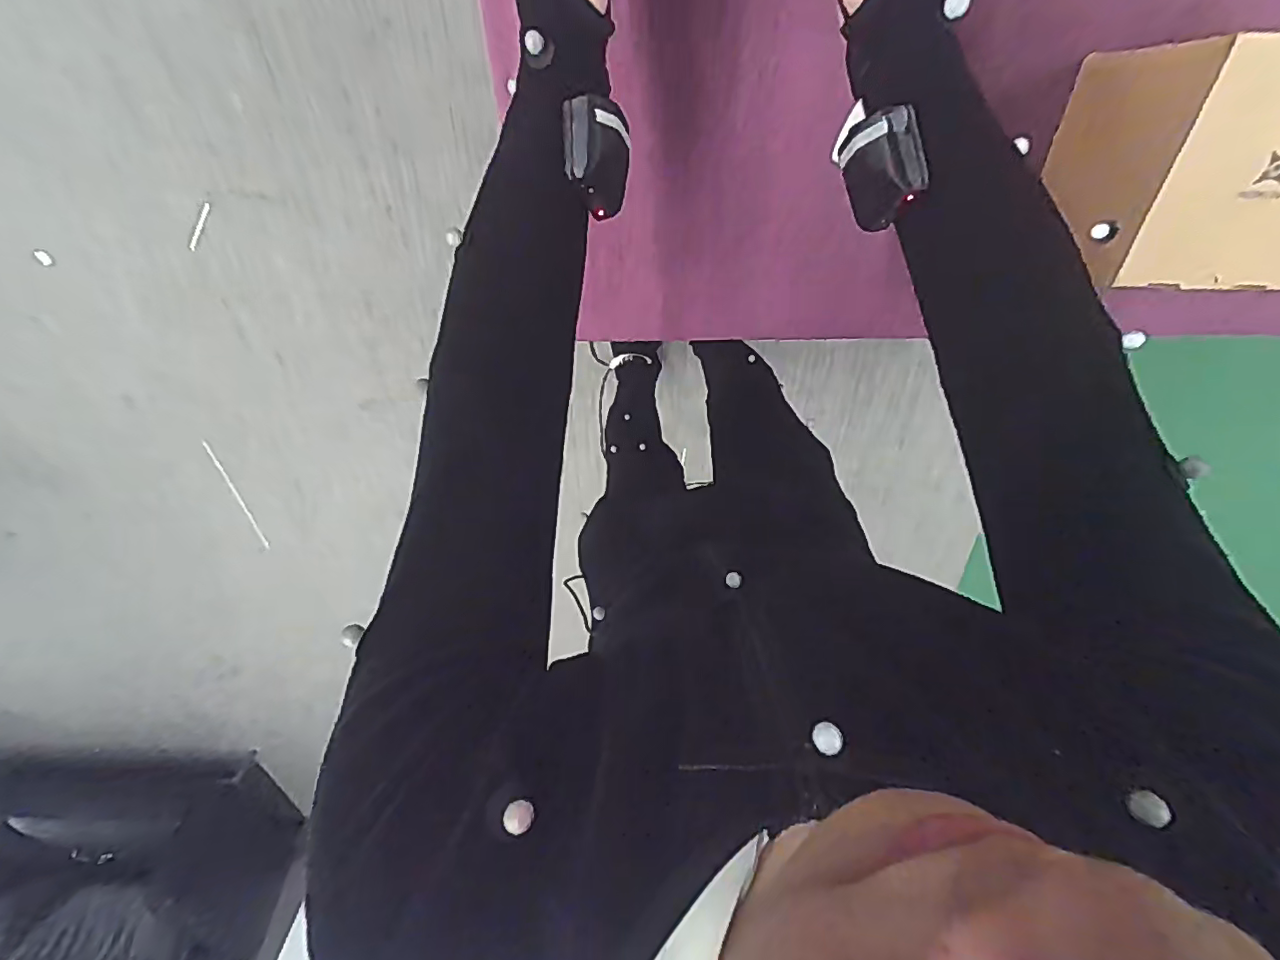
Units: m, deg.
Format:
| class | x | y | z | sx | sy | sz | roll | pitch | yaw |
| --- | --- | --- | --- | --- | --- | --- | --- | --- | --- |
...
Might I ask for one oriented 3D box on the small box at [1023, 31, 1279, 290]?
| class | x | y | z | sx | sy | sz | roll | pitch | yaw |
| --- | --- | --- | --- | --- | --- | --- | --- | --- | --- |
| small box | 0.498 | -0.285 | 0.491 | 0.168 | 0.176 | 0.179 | 1 | 125 | 2 |
